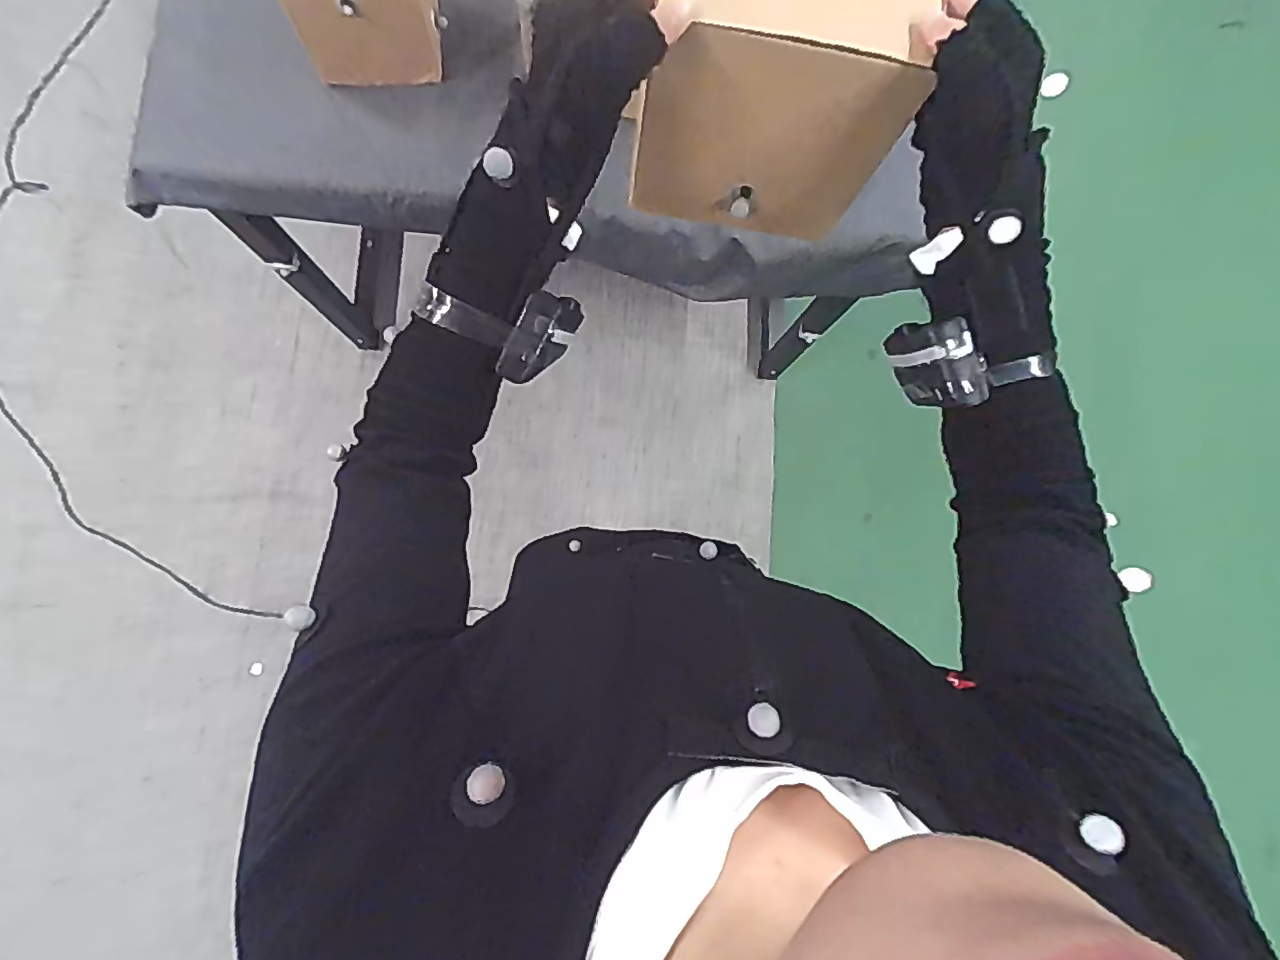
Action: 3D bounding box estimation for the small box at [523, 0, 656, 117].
[{"bbox_3d":[-0.066,-0.667,0.781,0.179,0.176,0.168,5,82,-5],"label":"small box"}]

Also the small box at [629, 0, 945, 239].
[{"bbox_3d":[0.094,-0.311,0.407,0.179,0.176,0.168,7,77,-6],"label":"small box"}]

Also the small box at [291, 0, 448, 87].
[{"bbox_3d":[-0.381,-0.689,0.754,0.179,0.176,0.168,-5,84,-8],"label":"small box"}]
